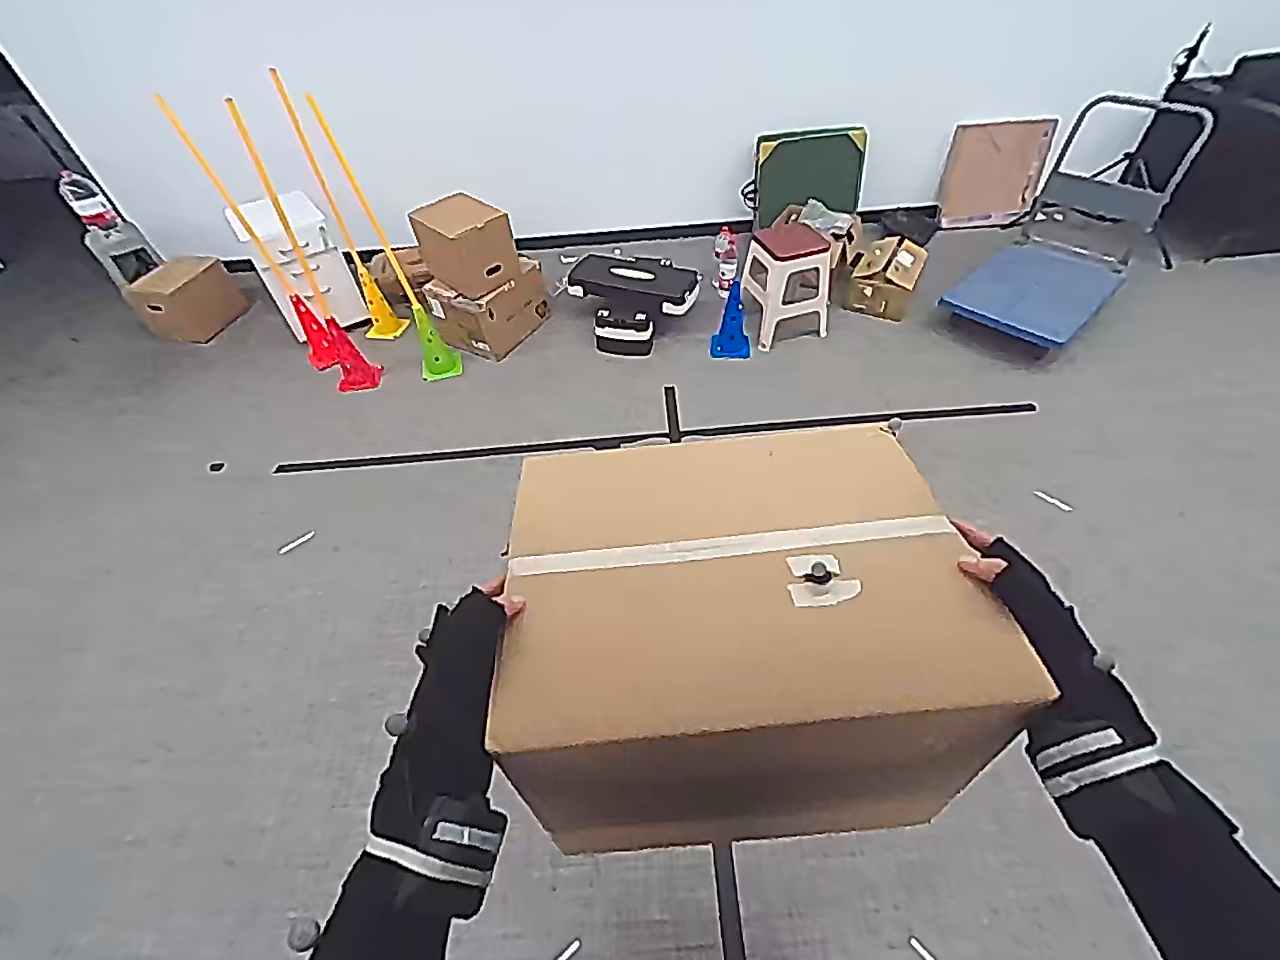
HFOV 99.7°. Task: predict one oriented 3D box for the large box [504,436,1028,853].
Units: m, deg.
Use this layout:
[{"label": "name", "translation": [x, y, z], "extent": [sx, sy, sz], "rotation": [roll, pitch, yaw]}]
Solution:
[{"label": "large box", "translation": [0.093, 0.181, 0.608], "extent": [0.408, 0.320, 0.320], "rotation": [-6, 44, 0]}]
